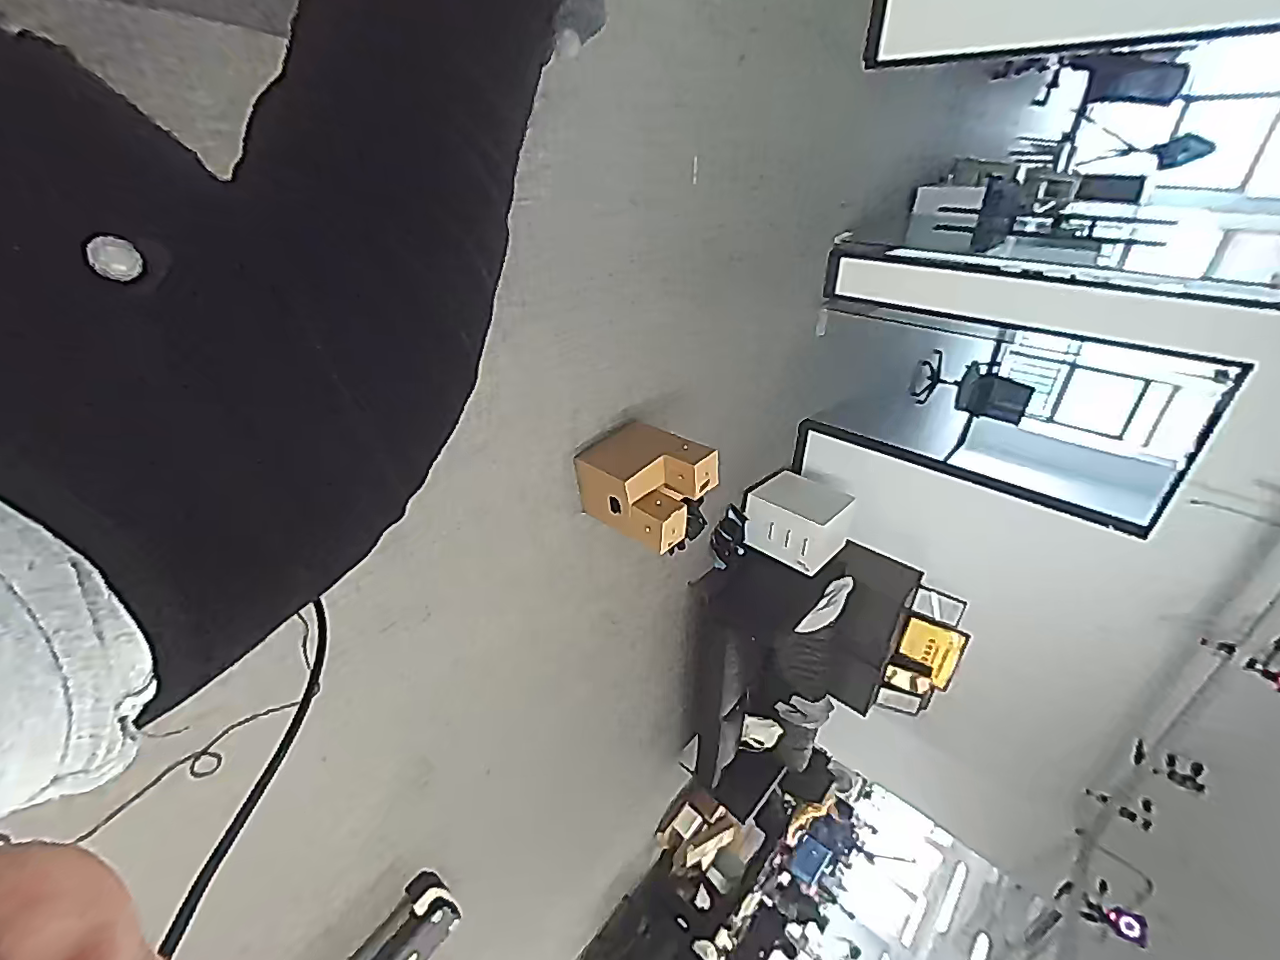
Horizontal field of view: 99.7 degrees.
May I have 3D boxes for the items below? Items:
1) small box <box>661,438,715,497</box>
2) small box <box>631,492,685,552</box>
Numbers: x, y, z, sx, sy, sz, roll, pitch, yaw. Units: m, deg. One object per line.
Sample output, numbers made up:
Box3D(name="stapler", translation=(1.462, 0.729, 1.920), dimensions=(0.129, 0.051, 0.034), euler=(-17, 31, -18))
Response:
Box3D(name="small box", translation=(0.207, -0.058, 2.332), dimensions=(0.168, 0.176, 0.179), euler=(-35, 132, -38))
Box3D(name="small box", translation=(0.073, 0.167, 2.282), dimensions=(0.168, 0.176, 0.179), euler=(-33, 135, -39))
